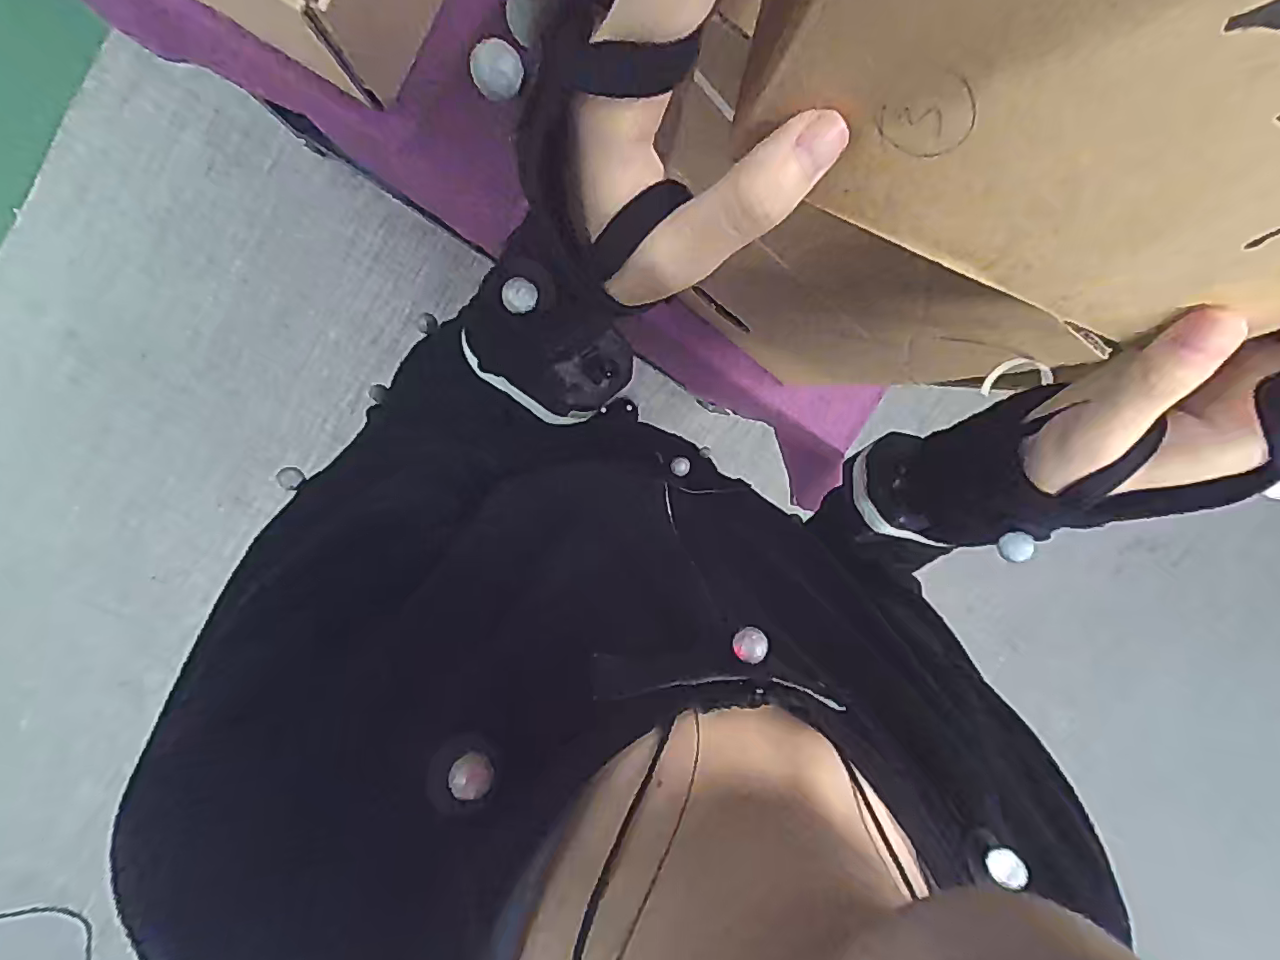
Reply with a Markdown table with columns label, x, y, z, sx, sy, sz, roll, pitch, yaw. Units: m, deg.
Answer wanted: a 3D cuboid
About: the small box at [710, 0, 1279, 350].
| label | x | y | z | sx | sy | sz | roll | pitch | yaw |
| --- | --- | --- | --- | --- | --- | --- | --- | --- | --- |
| small box | 0.140 | -0.159 | 0.114 | 0.179 | 0.168 | 0.176 | 16 | 78 | -13 |
